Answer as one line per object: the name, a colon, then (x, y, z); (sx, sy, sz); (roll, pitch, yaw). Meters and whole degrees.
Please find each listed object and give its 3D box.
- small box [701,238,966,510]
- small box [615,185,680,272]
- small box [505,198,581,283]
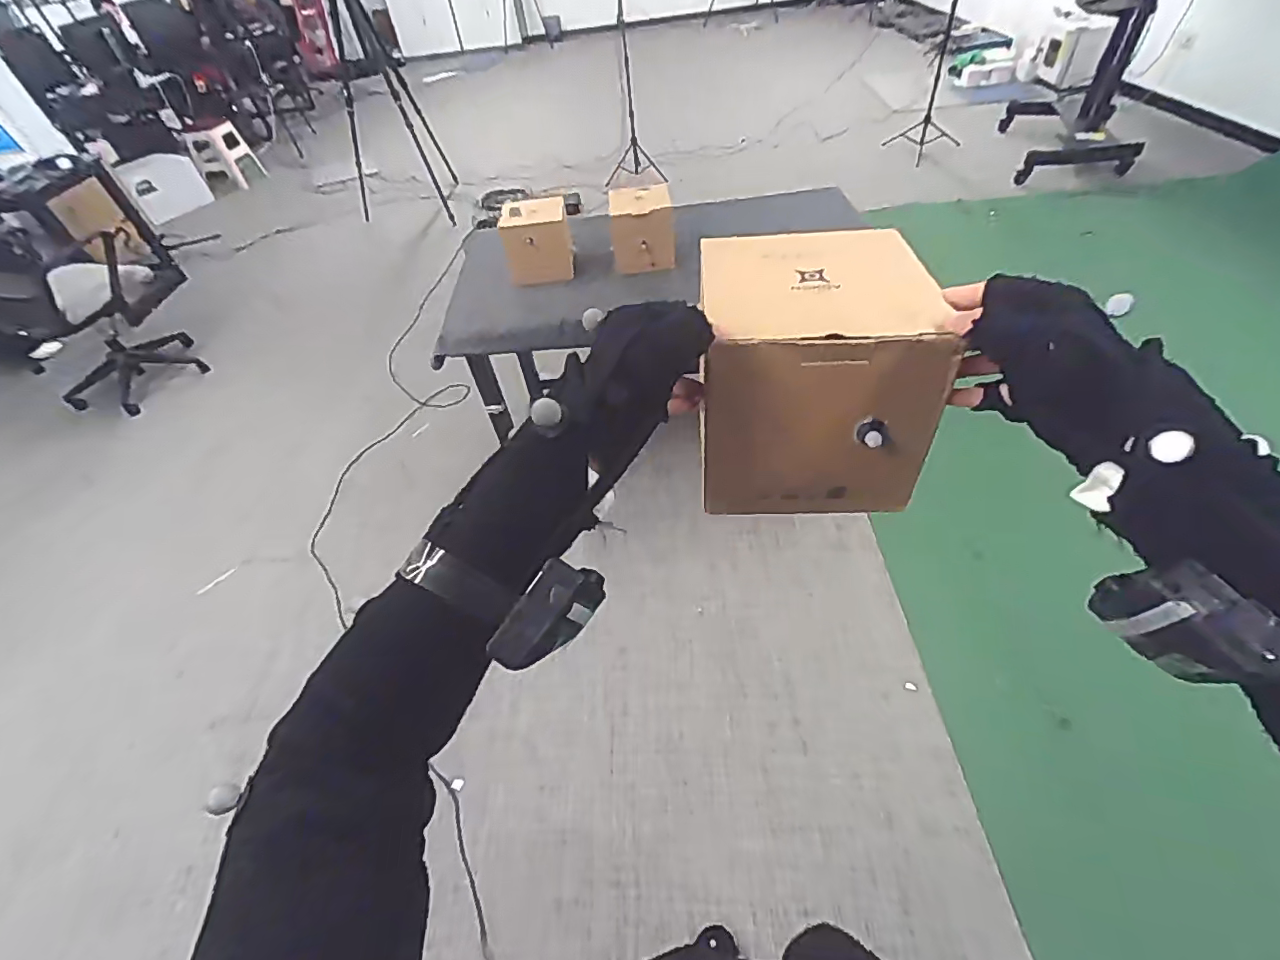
small box: (0.138, -0.088, 0.463); (0.168, 0.176, 0.179); (0, 43, 5)
small box: (0.022, -0.700, 1.521); (0.168, 0.176, 0.179); (-5, 48, 3)
small box: (-0.269, -0.677, 1.535); (0.179, 0.176, 0.168); (-6, 48, 0)
